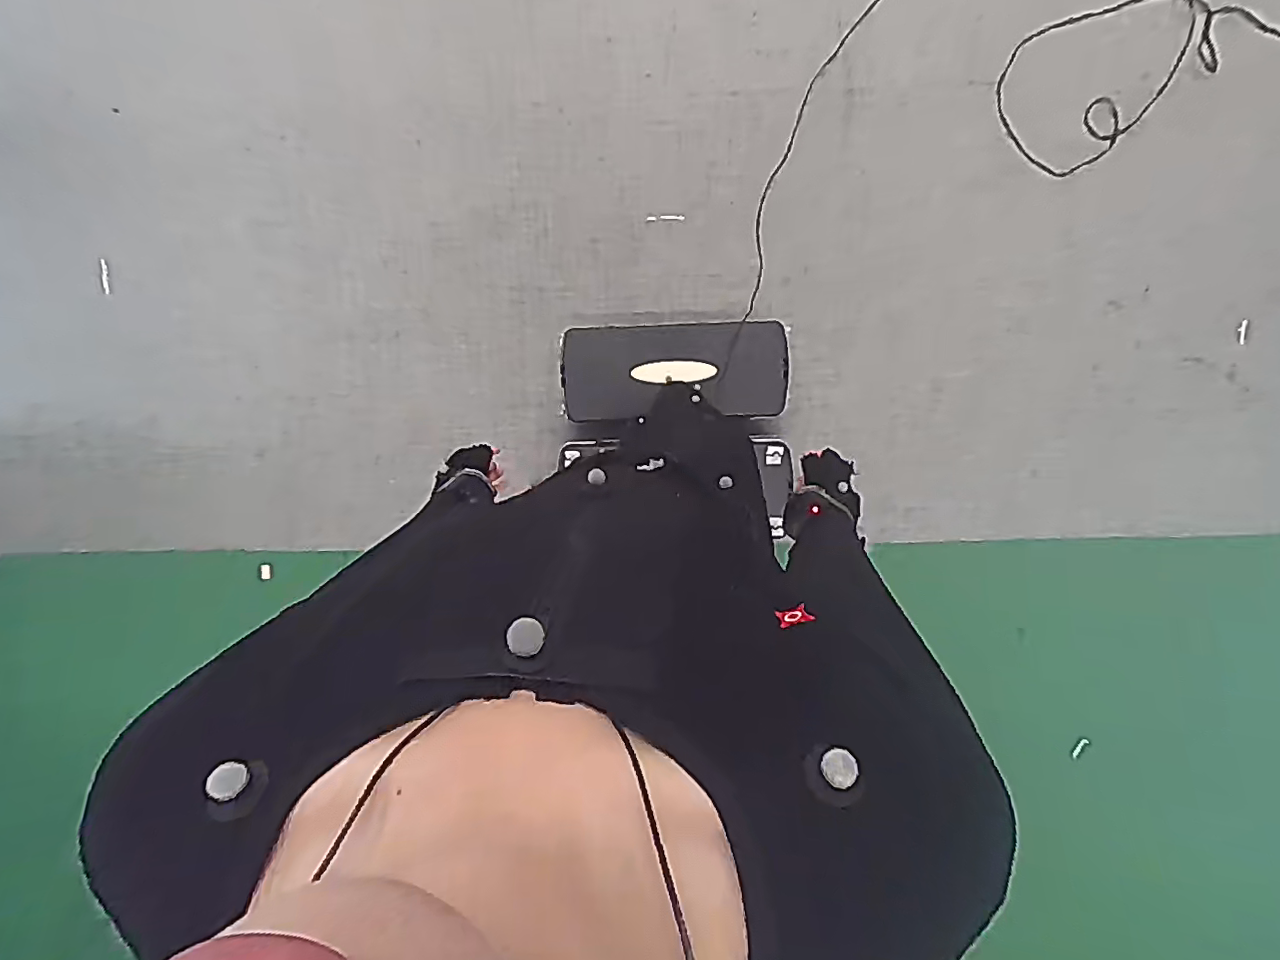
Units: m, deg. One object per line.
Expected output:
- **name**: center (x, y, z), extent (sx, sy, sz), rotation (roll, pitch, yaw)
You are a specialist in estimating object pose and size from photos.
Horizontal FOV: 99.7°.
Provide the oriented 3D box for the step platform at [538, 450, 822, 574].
- **step platform**: center (0.095, 0.073, 1.386), extent (0.684, 0.204, 0.286), rotation (-2, 95, 1)
